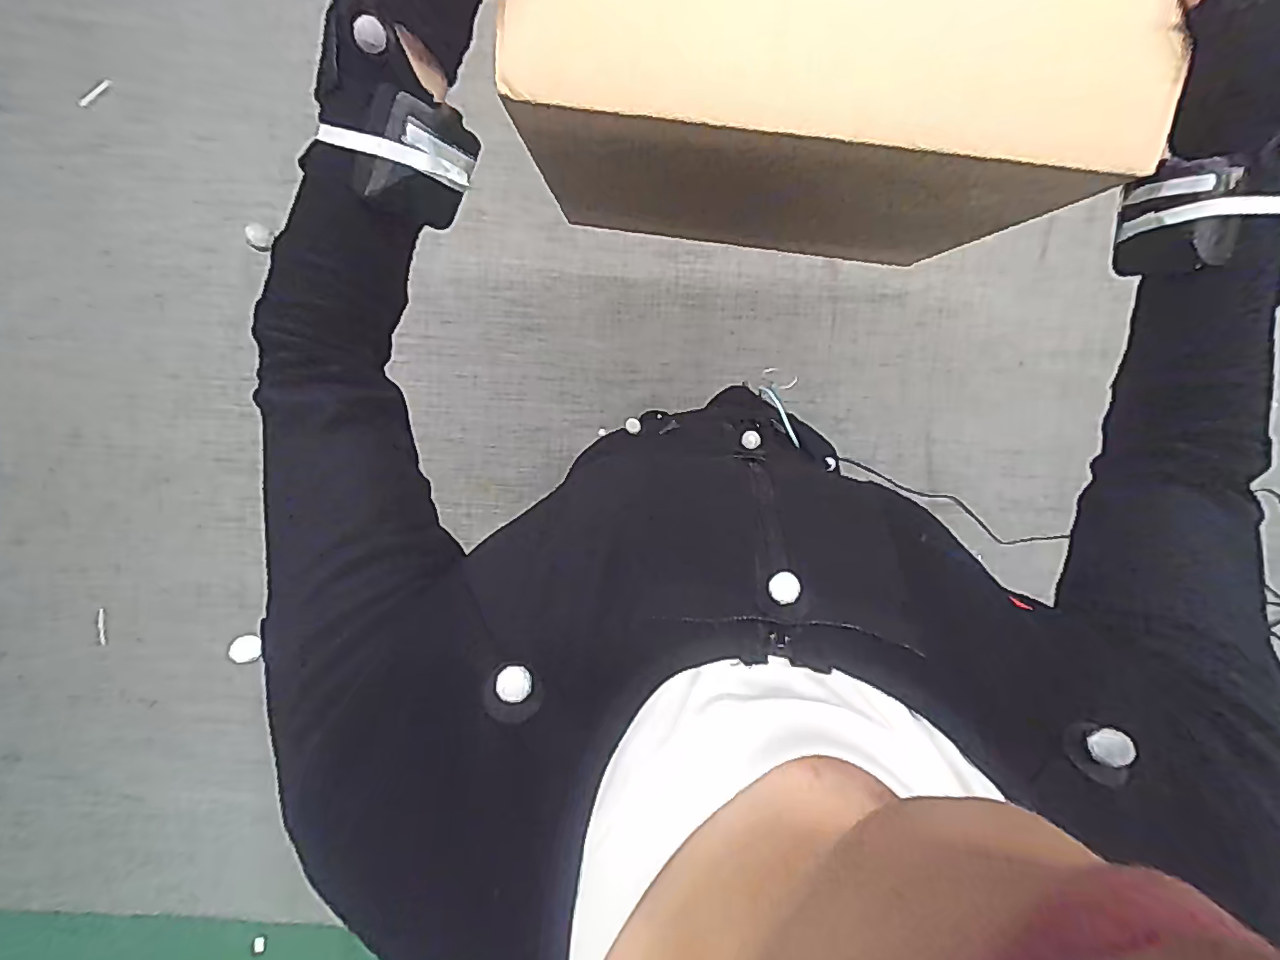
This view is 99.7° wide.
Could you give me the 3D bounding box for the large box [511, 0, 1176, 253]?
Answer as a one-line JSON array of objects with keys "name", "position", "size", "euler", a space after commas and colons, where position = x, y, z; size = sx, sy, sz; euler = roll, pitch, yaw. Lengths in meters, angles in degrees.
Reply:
[{"name": "large box", "position": [0.129, -0.399, 0.454], "size": [0.408, 0.320, 0.320], "euler": [6, 103, -1]}]
